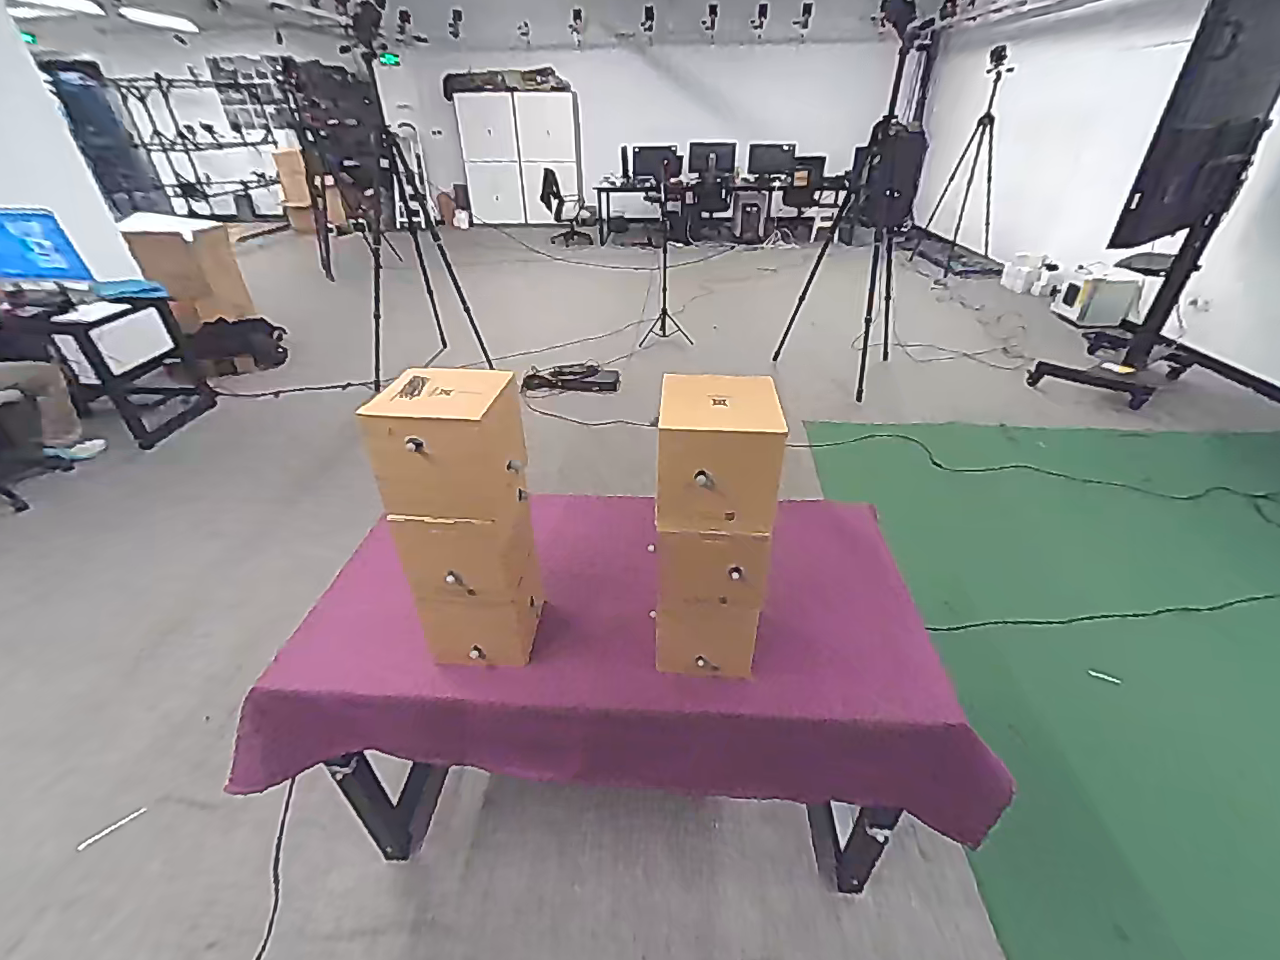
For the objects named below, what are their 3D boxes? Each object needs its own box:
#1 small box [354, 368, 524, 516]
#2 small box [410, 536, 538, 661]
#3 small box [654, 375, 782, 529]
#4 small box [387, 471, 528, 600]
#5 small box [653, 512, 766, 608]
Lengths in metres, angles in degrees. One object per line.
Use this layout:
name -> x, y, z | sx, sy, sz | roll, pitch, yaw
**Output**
small box -> -0.288, -0.059, 0.821 | 0.179, 0.176, 0.168 | 3, 34, 4
small box -> -0.292, 0.217, 1.001 | 0.179, 0.176, 0.168 | 1, 34, 2
small box -> 0.107, -0.043, 0.798 | 0.168, 0.176, 0.179 | 2, 34, 3
small box -> -0.292, 0.077, 0.912 | 0.168, 0.176, 0.179 | 1, 34, 4
small box -> 0.108, 0.092, 0.888 | 0.168, 0.176, 0.179 | 2, 34, 3
